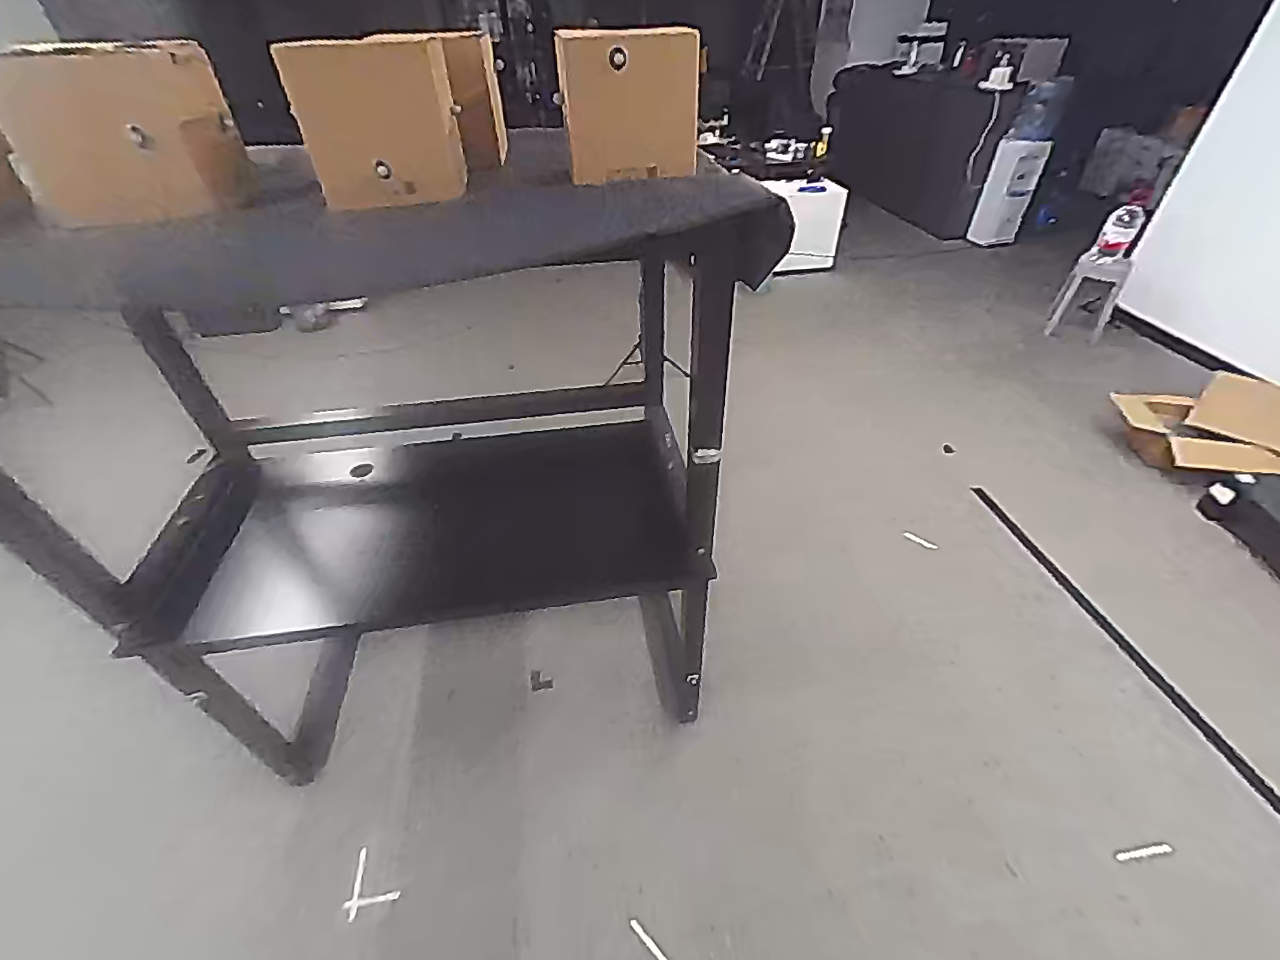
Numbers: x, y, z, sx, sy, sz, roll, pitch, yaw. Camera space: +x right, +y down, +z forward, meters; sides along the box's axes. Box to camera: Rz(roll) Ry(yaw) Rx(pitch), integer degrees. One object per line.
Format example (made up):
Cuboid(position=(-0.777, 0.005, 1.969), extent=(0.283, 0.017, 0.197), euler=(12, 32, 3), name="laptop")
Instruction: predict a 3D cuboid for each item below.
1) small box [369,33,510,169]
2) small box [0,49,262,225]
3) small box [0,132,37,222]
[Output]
Cuboid(position=(-0.311, -0.617, 0.882), extent=(0.168, 0.176, 0.179), euler=(-6, 40, -4), name="small box")
Cuboid(position=(-0.618, -0.429, 0.677), extent=(0.179, 0.176, 0.168), euler=(-7, 38, -9), name="small box")
Cuboid(position=(-0.895, -0.386, 0.637), extent=(0.168, 0.176, 0.179), euler=(-9, 42, -9), name="small box")
